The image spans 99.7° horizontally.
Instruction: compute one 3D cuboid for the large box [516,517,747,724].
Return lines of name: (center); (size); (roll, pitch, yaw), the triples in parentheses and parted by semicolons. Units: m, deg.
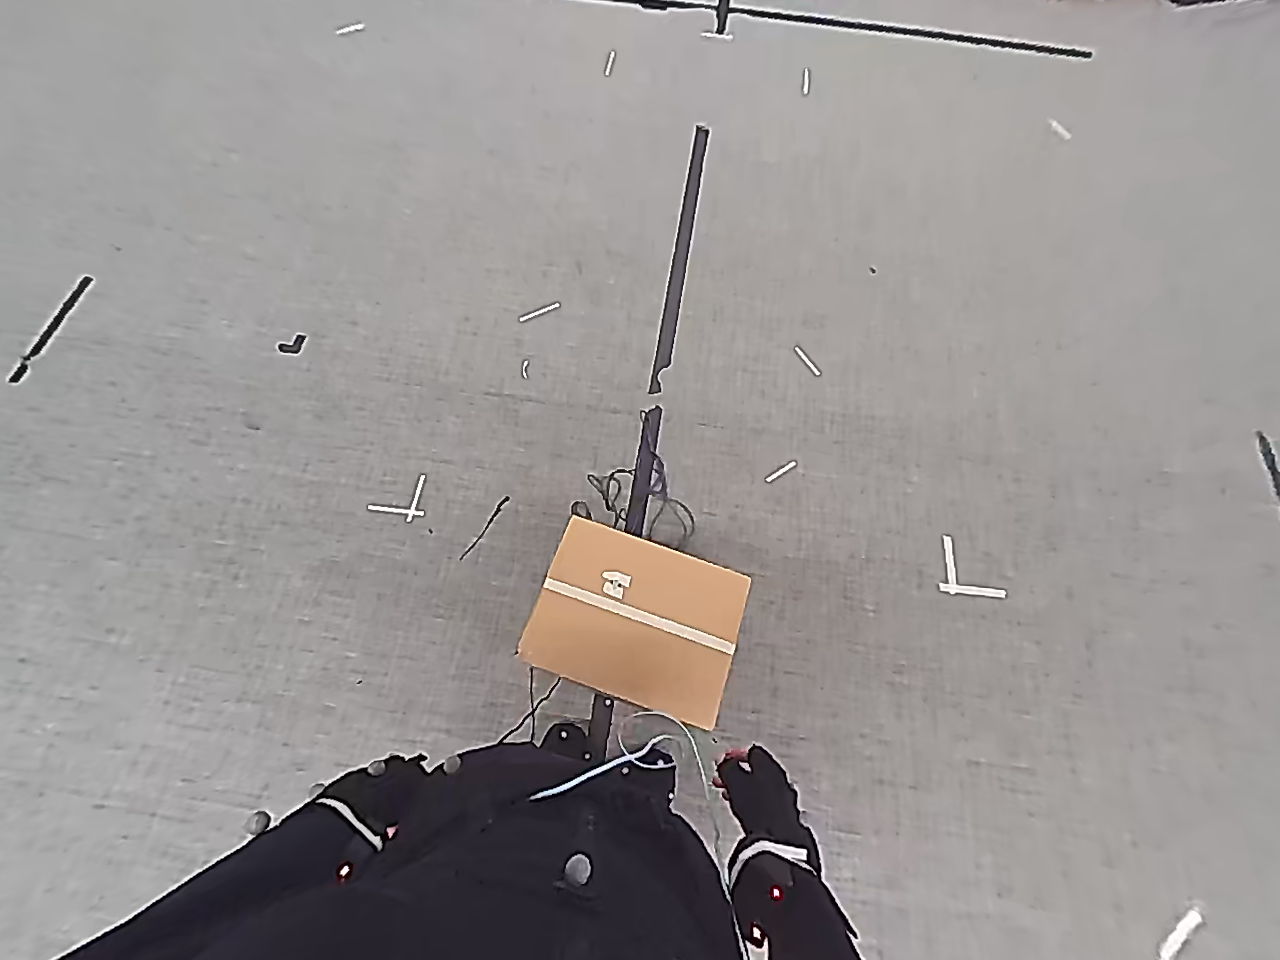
large box: (-0.015, 0.329, 1.231); (0.408, 0.320, 0.320); (19, 67, 4)
